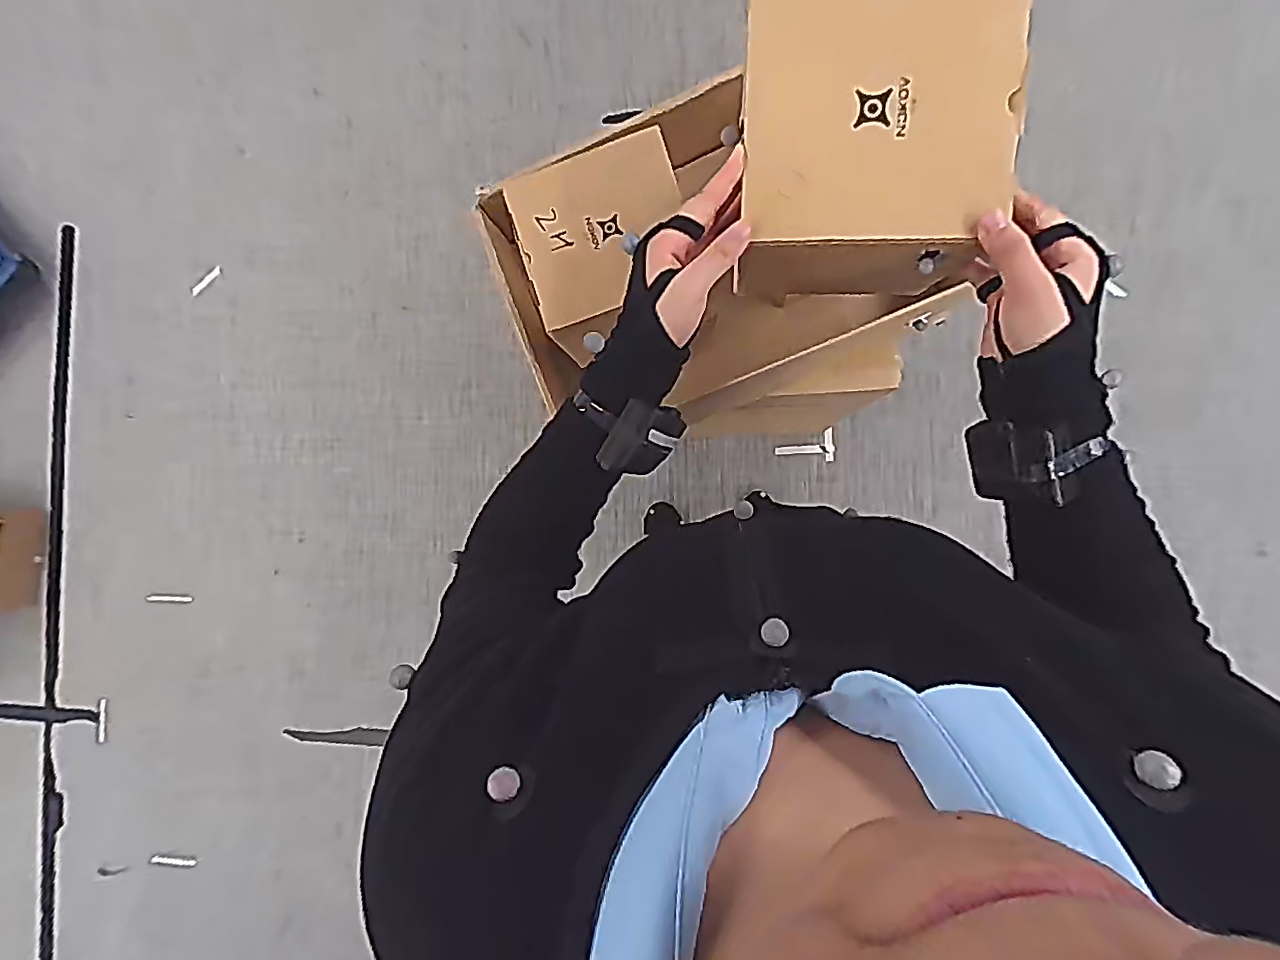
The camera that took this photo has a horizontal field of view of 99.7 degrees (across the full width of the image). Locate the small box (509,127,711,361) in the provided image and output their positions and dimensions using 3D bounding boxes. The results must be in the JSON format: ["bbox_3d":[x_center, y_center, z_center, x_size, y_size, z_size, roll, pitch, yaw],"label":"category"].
[{"bbox_3d":[-0.025,-0.256,0.632,0.179,0.176,0.168,-18,87,7],"label":"small box"}]

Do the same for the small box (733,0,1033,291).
[{"bbox_3d":[0.166,-0.252,0.429,0.179,0.176,0.168,2,97,7],"label":"small box"}]
